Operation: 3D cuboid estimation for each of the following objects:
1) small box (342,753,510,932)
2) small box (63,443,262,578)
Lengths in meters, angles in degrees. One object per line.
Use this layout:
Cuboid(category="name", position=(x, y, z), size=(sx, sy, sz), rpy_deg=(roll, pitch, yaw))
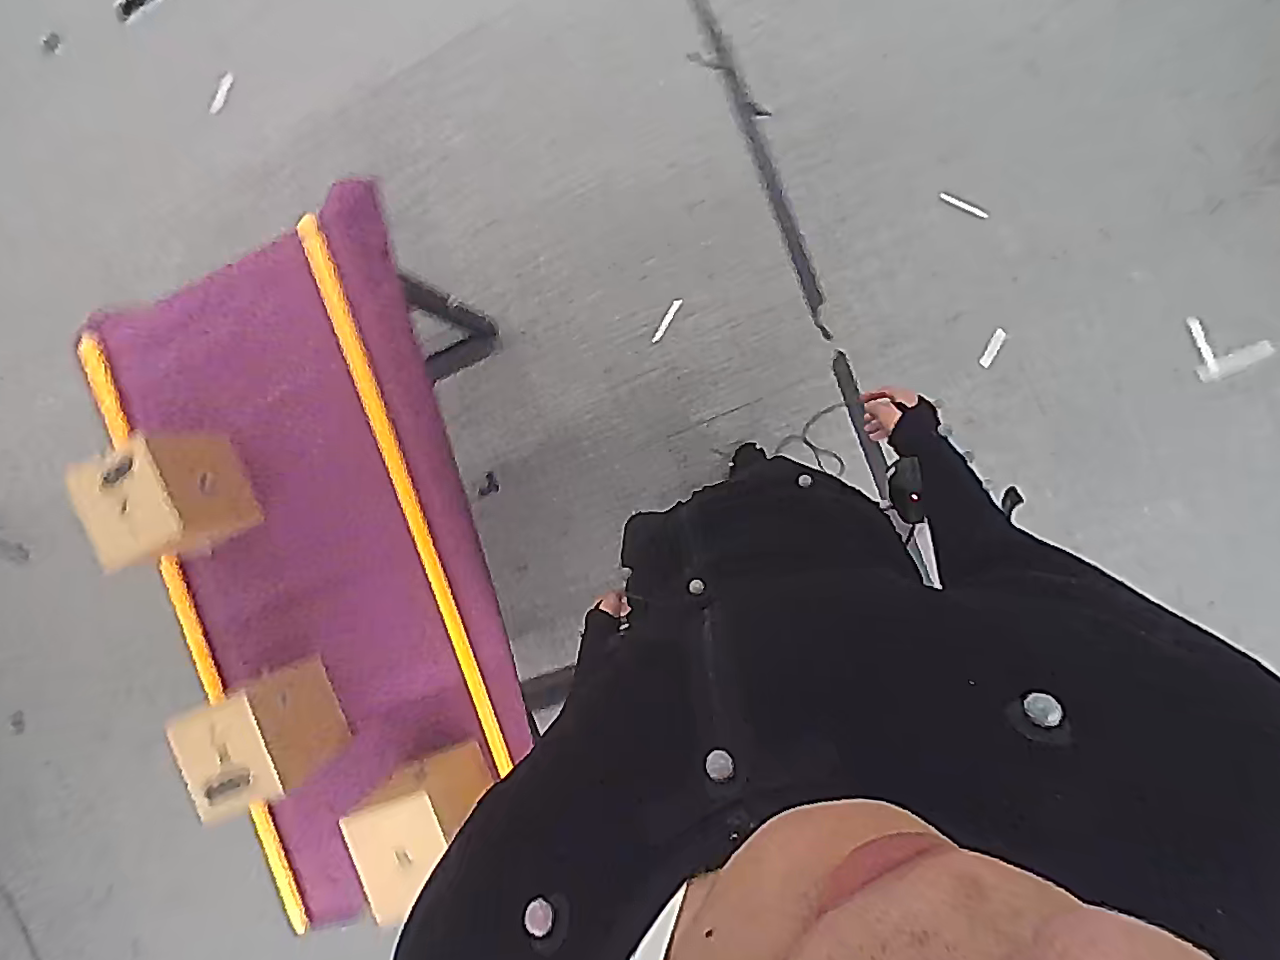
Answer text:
Cuboid(category="small box", position=(-0.348, 0.589, 0.907), size=(0.168, 0.176, 0.179), rpy_deg=(-24, 88, 10))
Cuboid(category="small box", position=(-0.825, 0.047, 0.951), size=(0.168, 0.176, 0.179), rpy_deg=(-25, 90, 8))
